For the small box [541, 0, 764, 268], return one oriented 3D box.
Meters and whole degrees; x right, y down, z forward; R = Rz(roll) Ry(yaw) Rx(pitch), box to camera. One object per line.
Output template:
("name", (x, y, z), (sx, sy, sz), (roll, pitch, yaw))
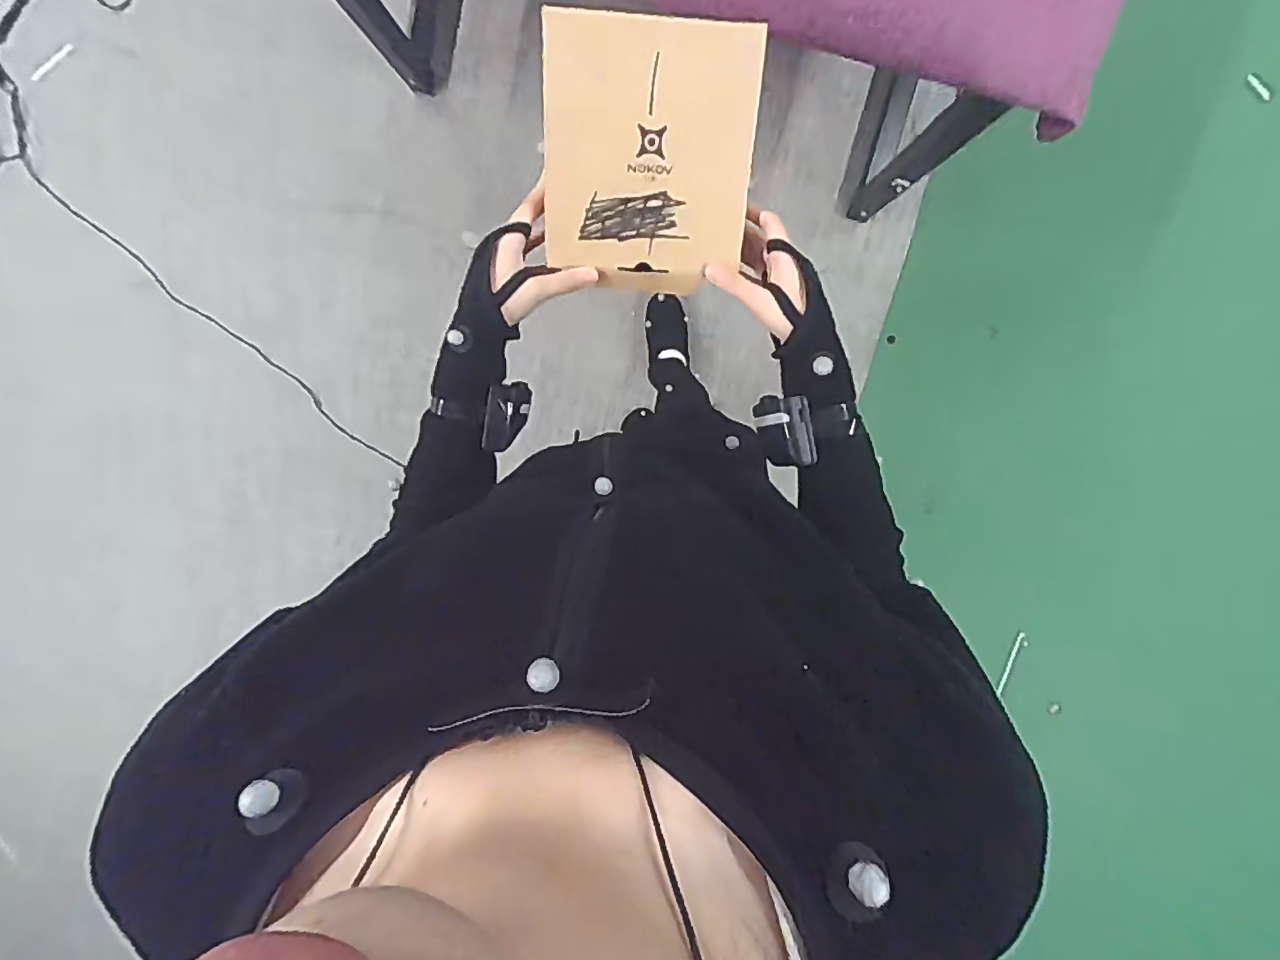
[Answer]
("small box", (0.003, -0.298, 0.498), (0.168, 0.176, 0.179), (2, 114, -3))
